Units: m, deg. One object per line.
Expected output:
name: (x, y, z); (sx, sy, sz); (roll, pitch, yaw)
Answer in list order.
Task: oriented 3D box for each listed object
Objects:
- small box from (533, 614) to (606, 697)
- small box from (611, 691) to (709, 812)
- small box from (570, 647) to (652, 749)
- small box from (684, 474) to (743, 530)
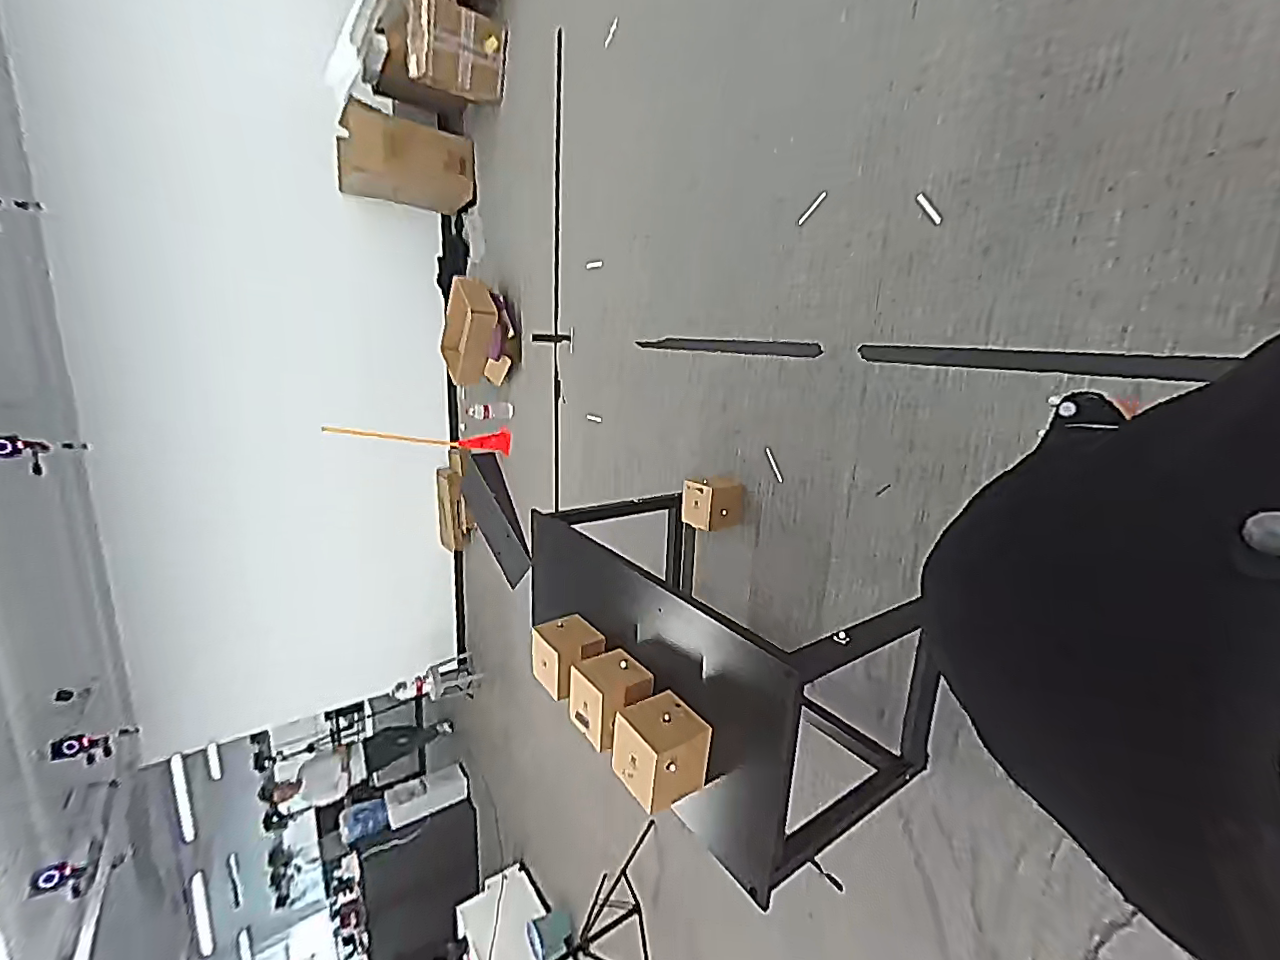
small box: (-0.223, 0.536, 1.684); (0.179, 0.176, 0.168); (20, 113, 52)
small box: (0.049, 0.647, 1.314); (0.168, 0.176, 0.179); (26, 116, 51)
small box: (-0.080, 0.591, 1.488); (0.168, 0.176, 0.179); (20, 110, 52)
small box: (0.292, 0.084, 2.146); (0.168, 0.176, 0.179); (19, 111, 51)
